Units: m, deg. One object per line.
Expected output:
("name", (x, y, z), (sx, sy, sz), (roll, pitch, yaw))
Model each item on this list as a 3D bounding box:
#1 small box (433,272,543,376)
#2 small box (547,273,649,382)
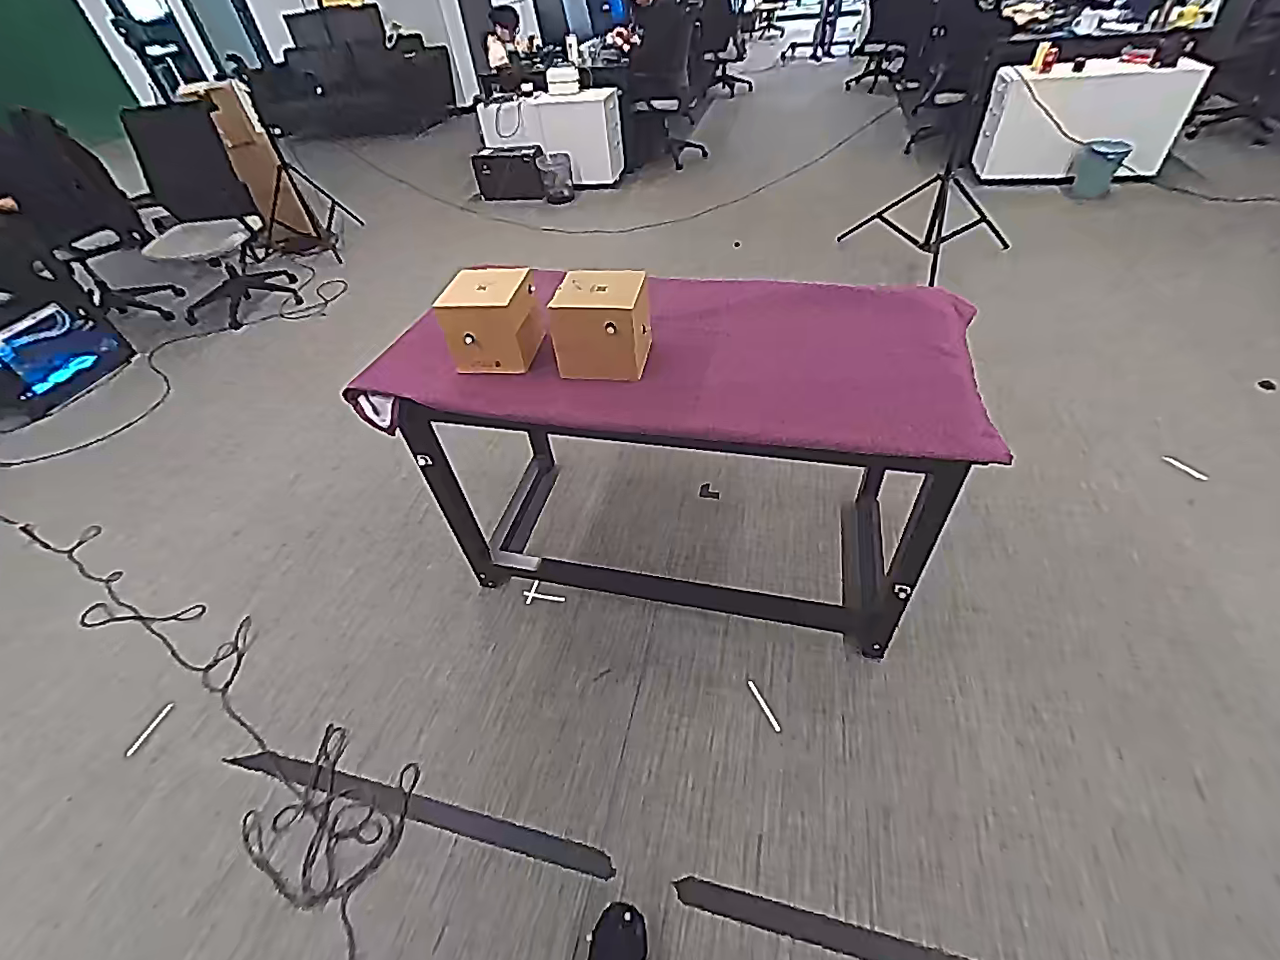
("small box", (-0.328, -0.346, 1.211), (0.168, 0.176, 0.179), (2, 45, 8))
("small box", (-0.079, -0.322, 1.153), (0.179, 0.176, 0.168), (4, 44, 10))
